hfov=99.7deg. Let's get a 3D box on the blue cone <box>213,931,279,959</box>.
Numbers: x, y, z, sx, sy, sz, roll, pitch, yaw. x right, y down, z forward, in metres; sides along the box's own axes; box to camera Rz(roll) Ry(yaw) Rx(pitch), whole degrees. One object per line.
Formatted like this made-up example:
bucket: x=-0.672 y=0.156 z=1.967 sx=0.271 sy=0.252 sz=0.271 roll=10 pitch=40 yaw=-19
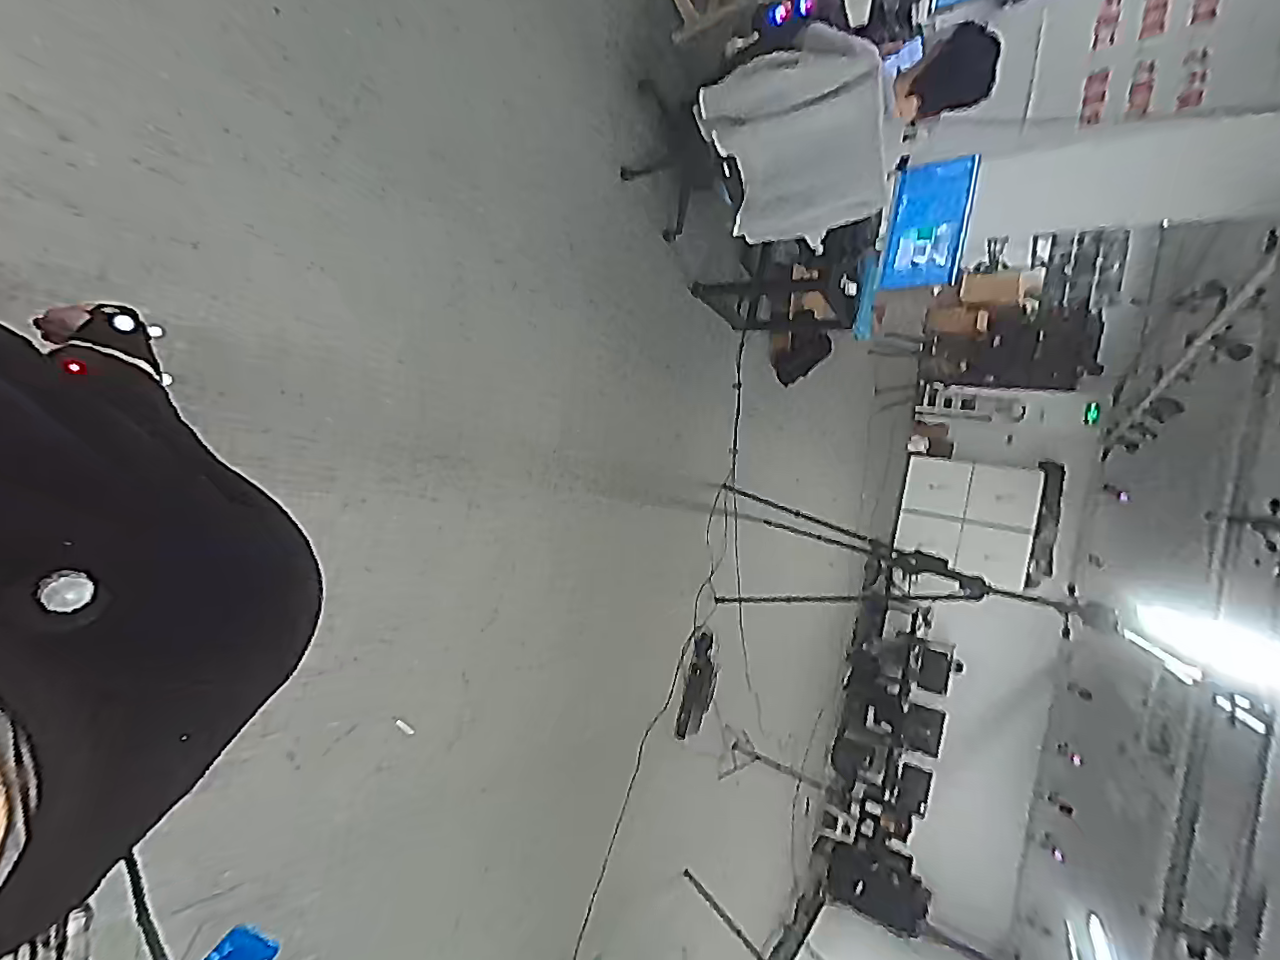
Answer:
blue cone: x=-0.976 y=1.365 z=1.378 sx=0.193 sy=0.380 sz=0.192 roll=-51 pitch=136 yaw=-38
